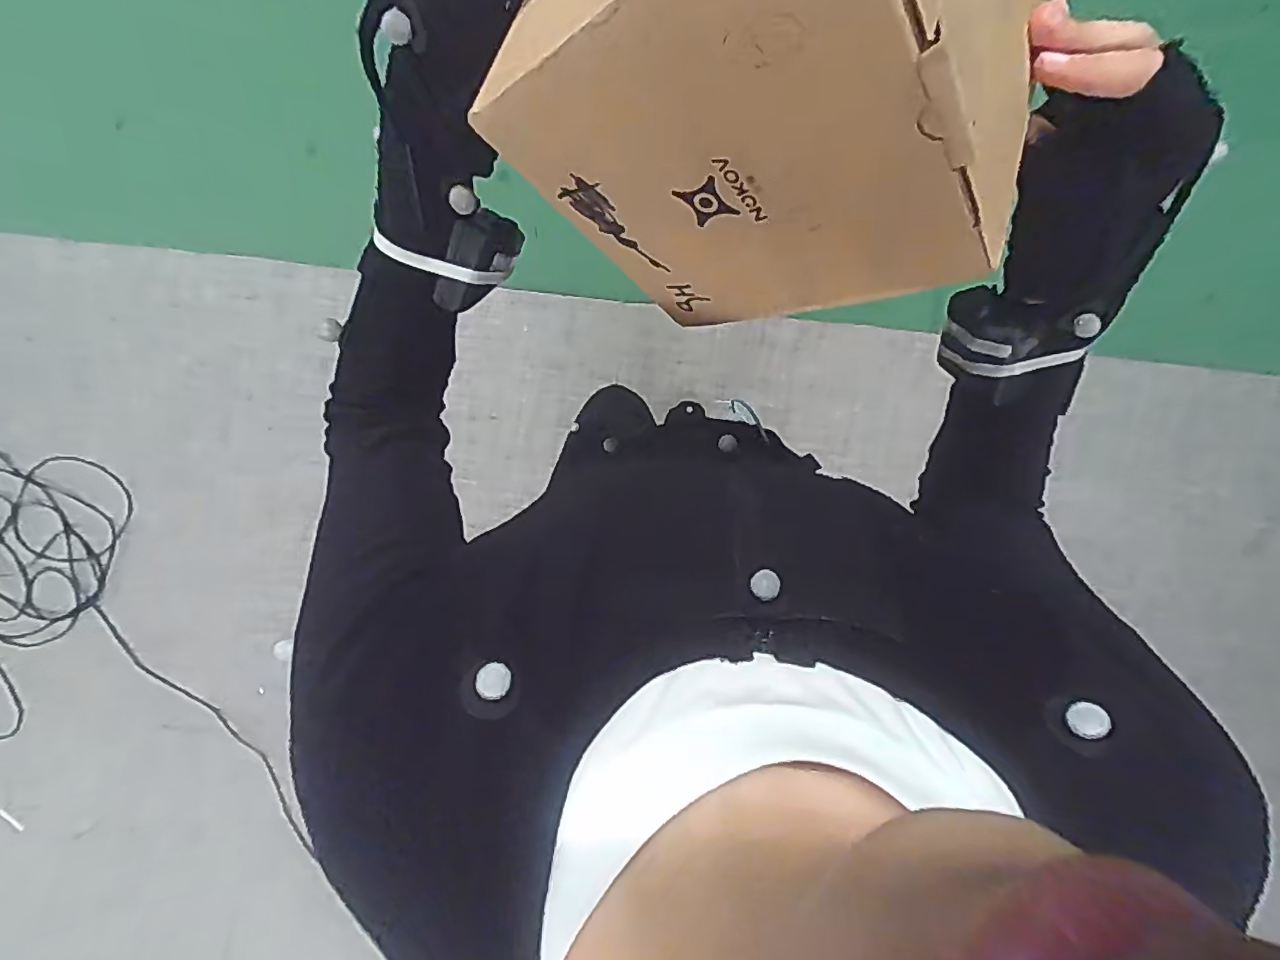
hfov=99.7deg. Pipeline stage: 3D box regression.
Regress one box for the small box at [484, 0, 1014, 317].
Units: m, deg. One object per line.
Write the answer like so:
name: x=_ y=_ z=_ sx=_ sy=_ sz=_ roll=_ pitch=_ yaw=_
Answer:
small box: x=0.062 y=-0.208 z=0.260 sx=0.168 sy=0.179 sz=0.176 roll=31 pitch=71 yaw=-42
